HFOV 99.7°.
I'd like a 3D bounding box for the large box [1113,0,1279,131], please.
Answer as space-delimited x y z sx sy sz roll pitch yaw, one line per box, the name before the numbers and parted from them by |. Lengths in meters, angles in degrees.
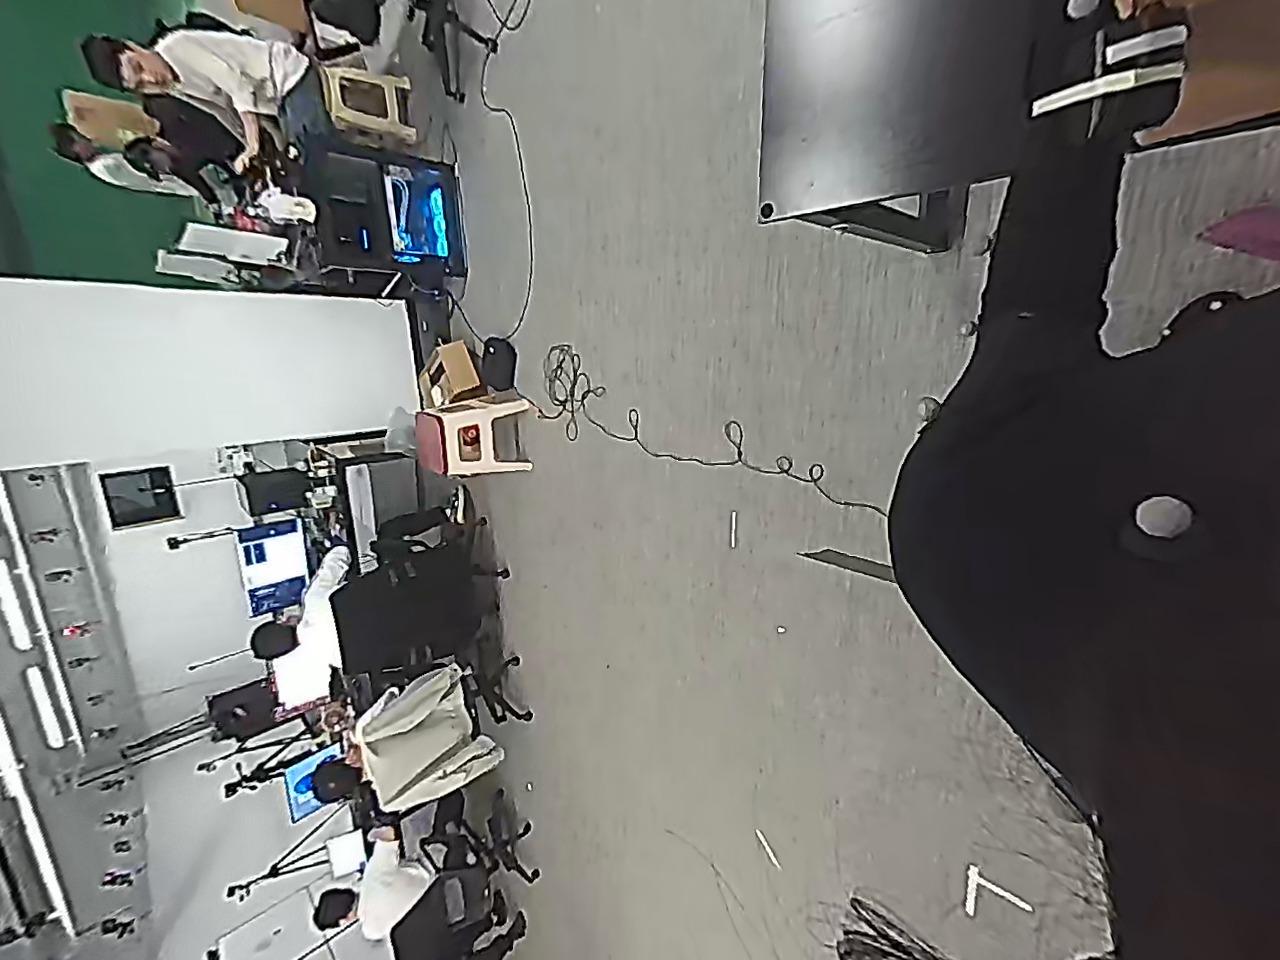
large box | 0.543 -0.469 0.296 0.408 0.320 0.320 5 105 46
